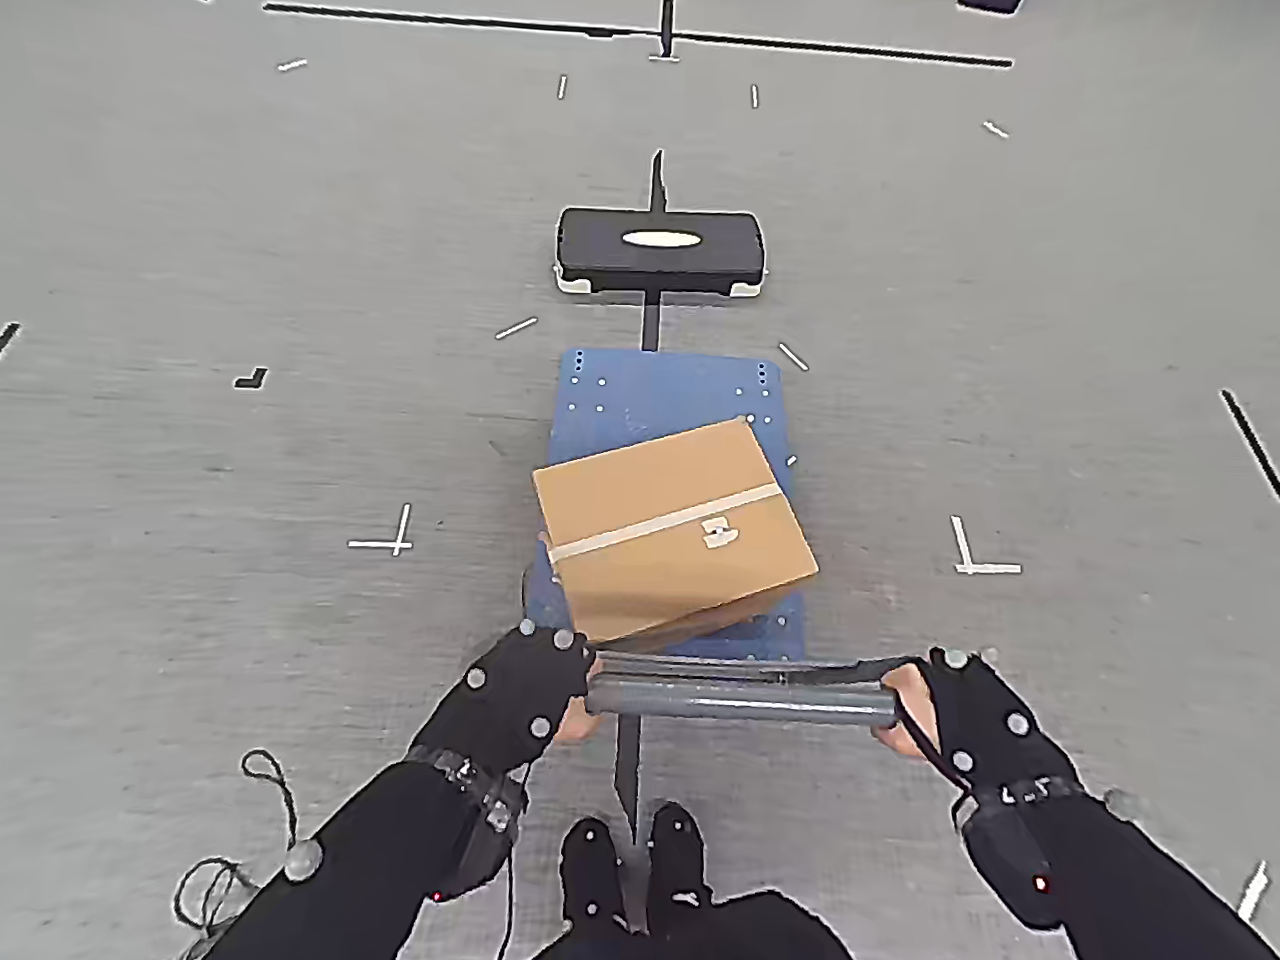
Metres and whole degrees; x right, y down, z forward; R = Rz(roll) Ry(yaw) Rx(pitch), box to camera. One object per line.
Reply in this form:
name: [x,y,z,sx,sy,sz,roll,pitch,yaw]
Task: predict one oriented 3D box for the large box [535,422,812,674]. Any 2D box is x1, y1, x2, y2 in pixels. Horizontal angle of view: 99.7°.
large box: [0.040,0.139,1.042,0.408,0.320,0.320,-15,67,-12]
